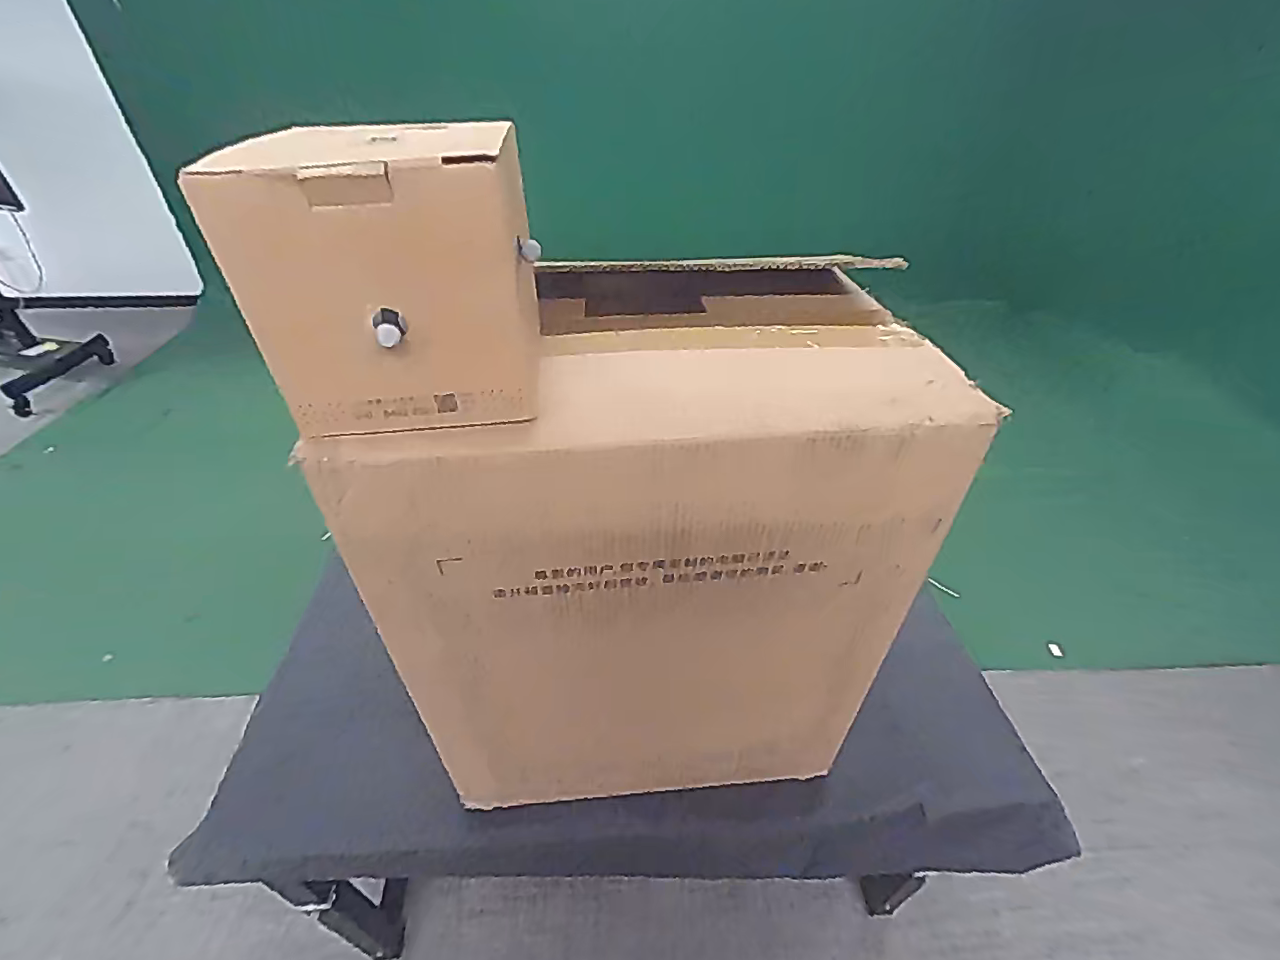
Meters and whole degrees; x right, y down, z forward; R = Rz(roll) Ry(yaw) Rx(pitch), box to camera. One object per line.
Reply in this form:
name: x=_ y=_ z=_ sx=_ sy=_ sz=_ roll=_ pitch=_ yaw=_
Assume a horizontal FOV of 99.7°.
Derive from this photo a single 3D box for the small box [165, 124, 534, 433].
small box: x=-0.173 y=-0.146 z=0.398 sx=0.168 sy=0.176 sz=0.179 roll=-6 pitch=40 yaw=-5
